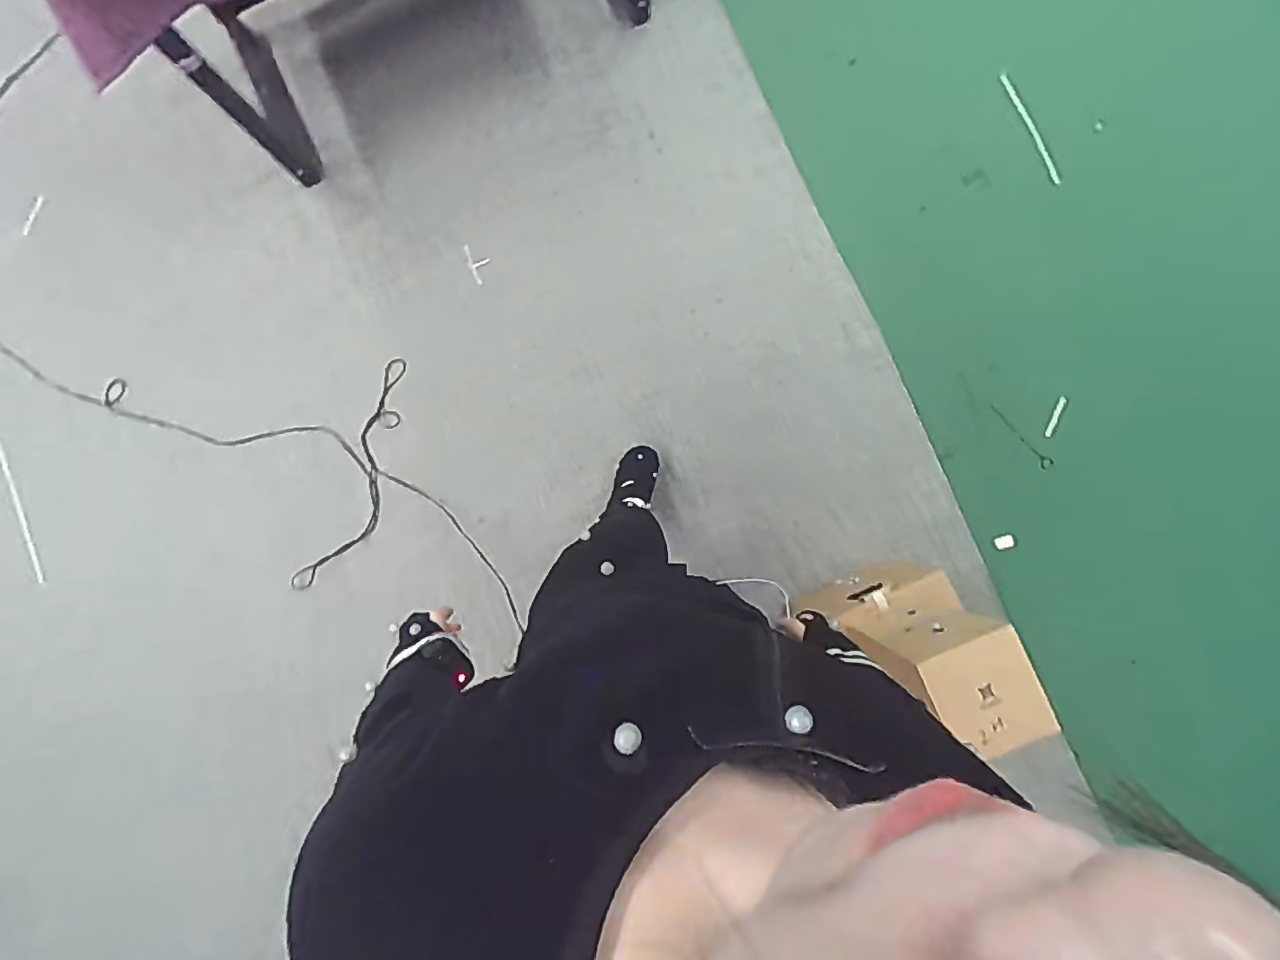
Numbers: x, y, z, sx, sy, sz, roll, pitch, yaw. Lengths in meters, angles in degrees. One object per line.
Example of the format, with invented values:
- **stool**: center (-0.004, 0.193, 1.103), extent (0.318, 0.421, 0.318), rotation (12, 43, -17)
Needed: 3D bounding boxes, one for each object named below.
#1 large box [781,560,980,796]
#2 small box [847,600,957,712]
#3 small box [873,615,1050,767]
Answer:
- **large box**: center (0.595, 0.445, 1.317), extent (0.320, 0.320, 0.408), rotation (-24, 86, 0)
- **small box**: center (0.542, 0.351, 1.081), extent (0.168, 0.176, 0.179), rotation (-22, 86, 0)
- **small box**: center (0.528, 0.340, 0.917), extent (0.168, 0.176, 0.179), rotation (-22, 86, 1)
